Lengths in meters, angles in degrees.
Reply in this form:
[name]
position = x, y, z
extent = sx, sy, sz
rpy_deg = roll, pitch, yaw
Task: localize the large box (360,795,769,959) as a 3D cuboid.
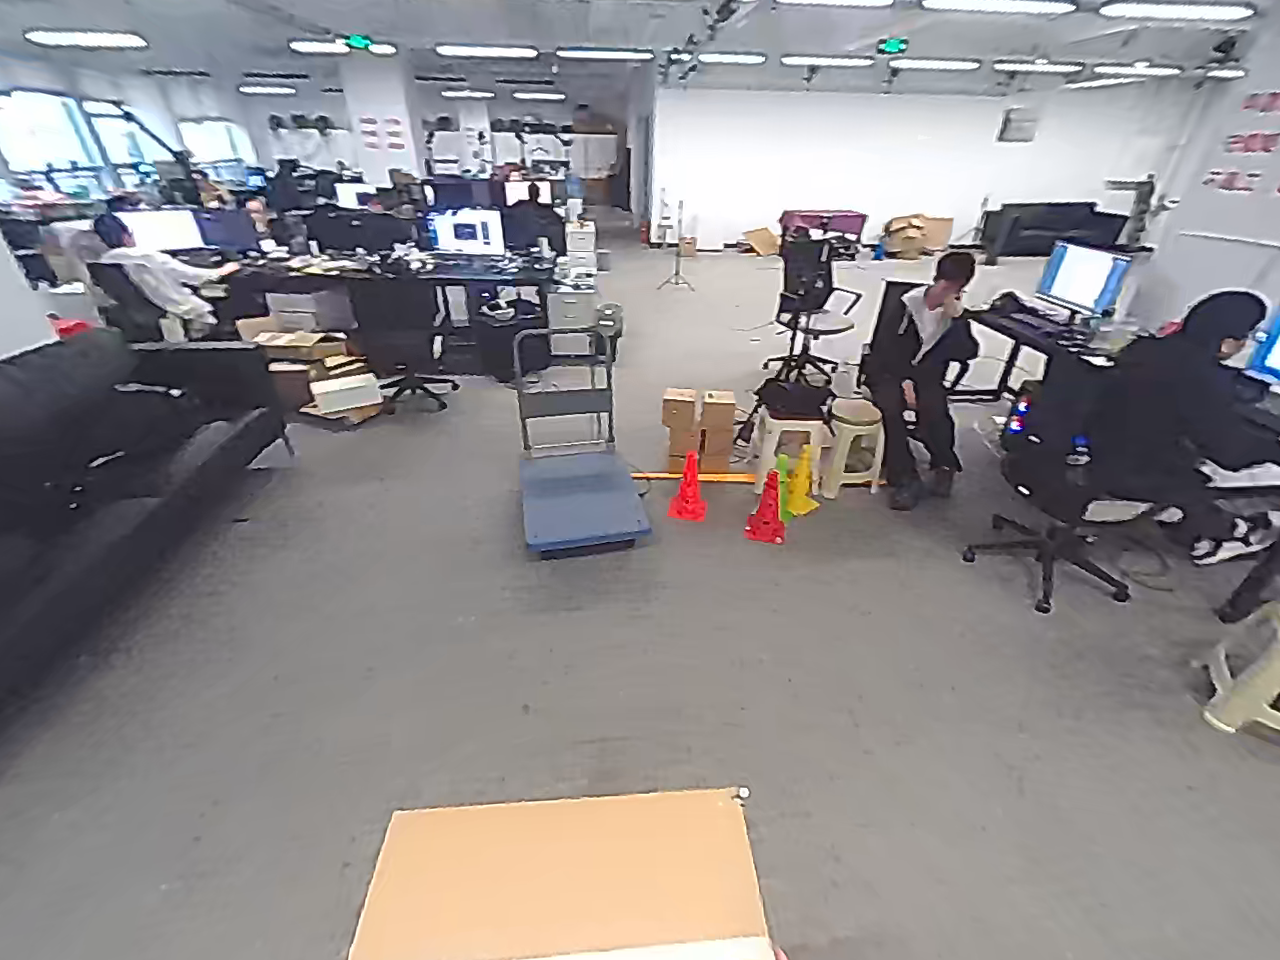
[large box]
position = -0.076, 0.596, 0.591
extent = 0.408, 0.320, 0.320
rpy_deg = -1, 32, -4
